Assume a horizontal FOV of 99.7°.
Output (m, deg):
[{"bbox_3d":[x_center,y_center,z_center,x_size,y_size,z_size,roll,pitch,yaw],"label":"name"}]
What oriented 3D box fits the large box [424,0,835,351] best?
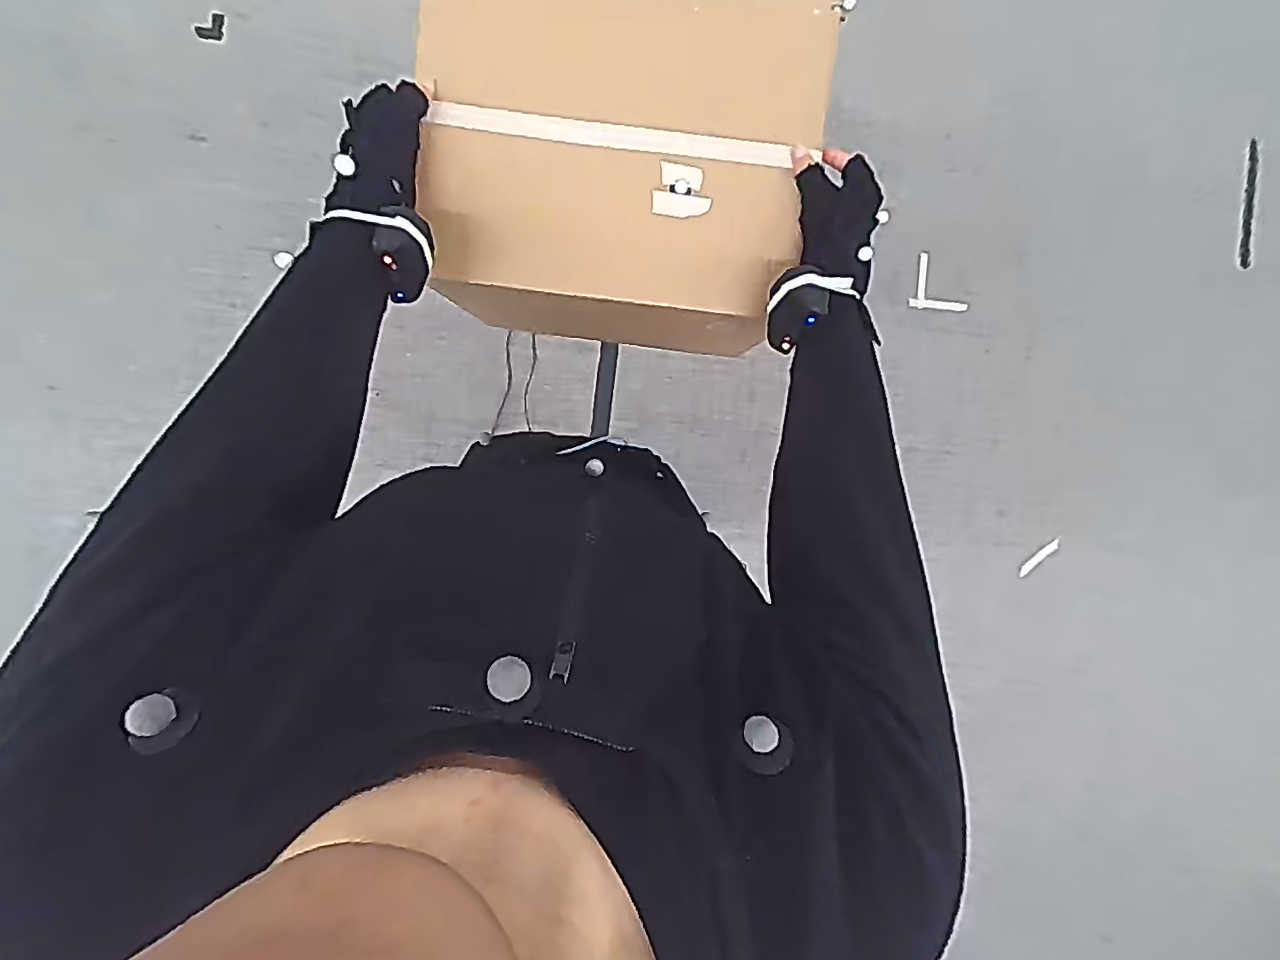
[{"bbox_3d":[-0.020,-0.359,0.699,0.408,0.320,0.320,6,97,-2],"label":"large box"}]
